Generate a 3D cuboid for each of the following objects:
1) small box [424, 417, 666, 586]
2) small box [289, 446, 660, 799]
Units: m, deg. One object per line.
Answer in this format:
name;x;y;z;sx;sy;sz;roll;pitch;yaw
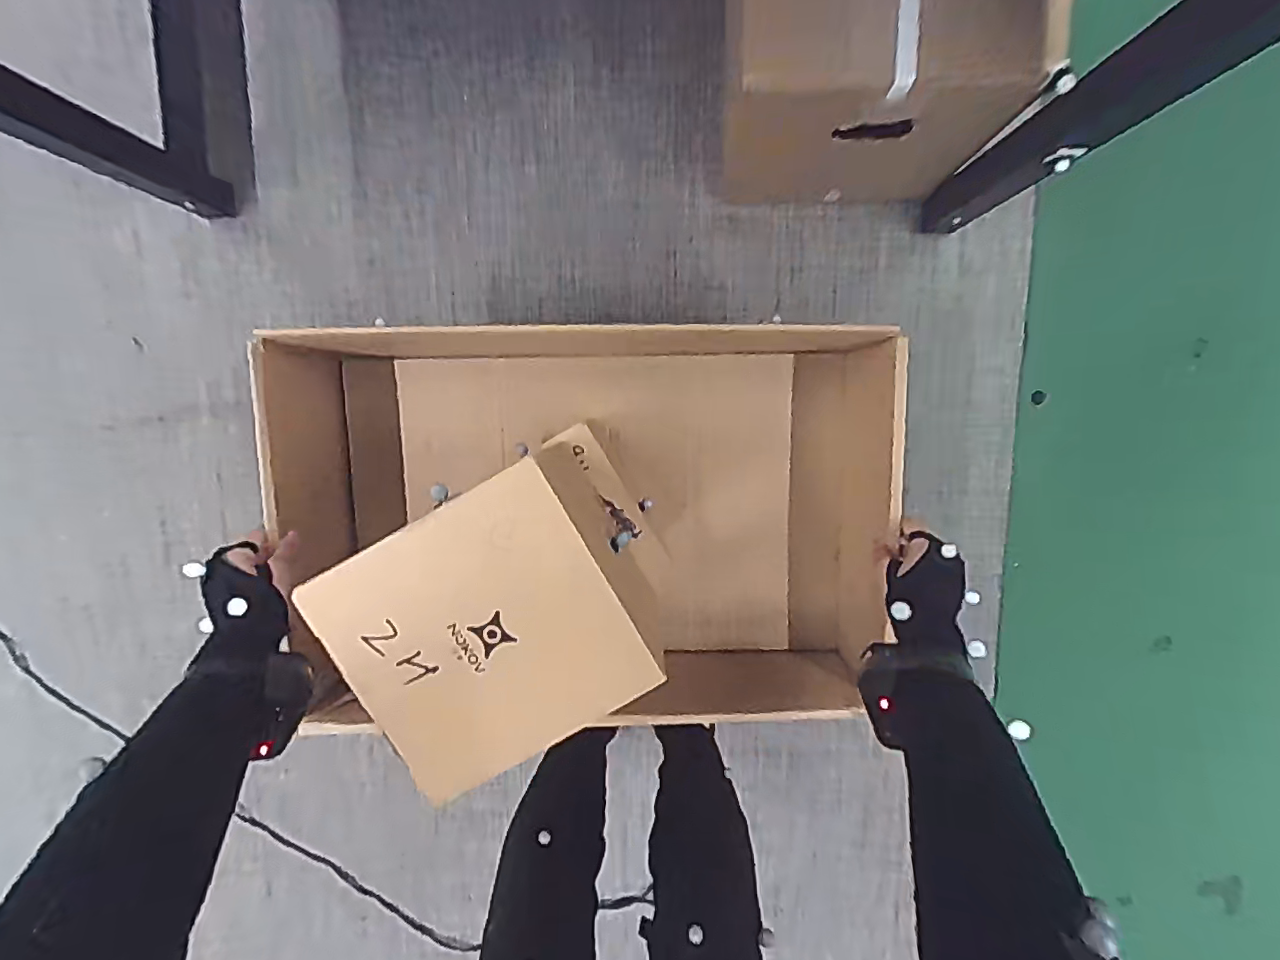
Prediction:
small box;-0.087;0.046;0.573;0.179;0.176;0.168;-30;97;3
small box;-0.102;0.084;0.411;0.179;0.176;0.168;-29;96;3
